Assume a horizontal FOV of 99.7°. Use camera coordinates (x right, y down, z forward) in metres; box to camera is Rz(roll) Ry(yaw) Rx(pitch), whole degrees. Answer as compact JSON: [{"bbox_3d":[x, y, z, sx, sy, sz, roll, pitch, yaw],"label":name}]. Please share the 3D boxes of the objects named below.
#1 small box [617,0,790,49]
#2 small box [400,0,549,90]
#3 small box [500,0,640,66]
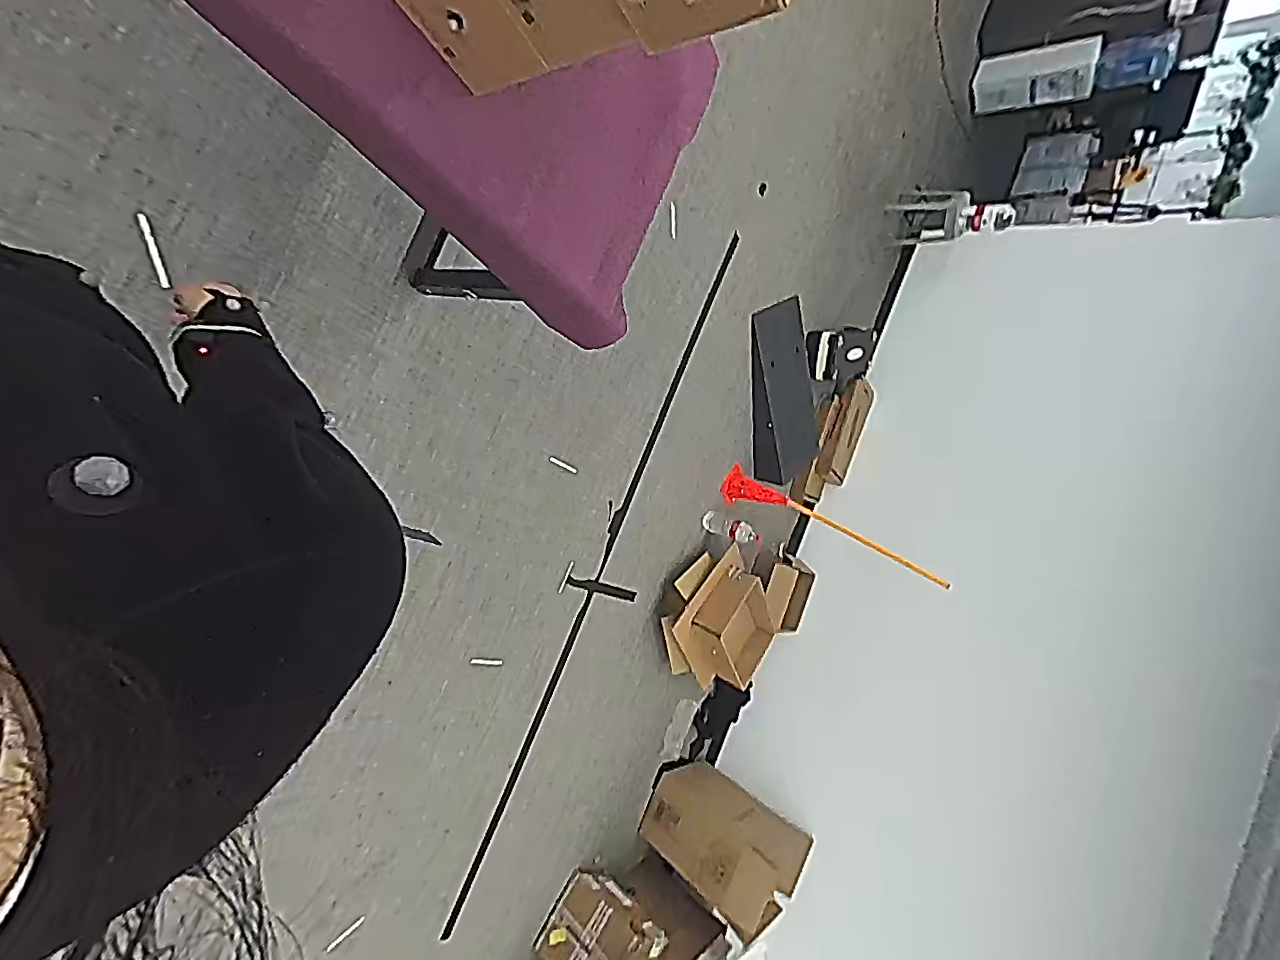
[{"bbox_3d":[0.055,-0.533,0.473,0.168,0.176,0.179,29,81,-52],"label":"small box"},{"bbox_3d":[-0.185,-0.633,0.672,0.168,0.176,0.179,34,77,-51],"label":"small box"},{"bbox_3d":[-0.059,-0.595,0.574,0.168,0.176,0.179,33,79,-51],"label":"small box"}]
